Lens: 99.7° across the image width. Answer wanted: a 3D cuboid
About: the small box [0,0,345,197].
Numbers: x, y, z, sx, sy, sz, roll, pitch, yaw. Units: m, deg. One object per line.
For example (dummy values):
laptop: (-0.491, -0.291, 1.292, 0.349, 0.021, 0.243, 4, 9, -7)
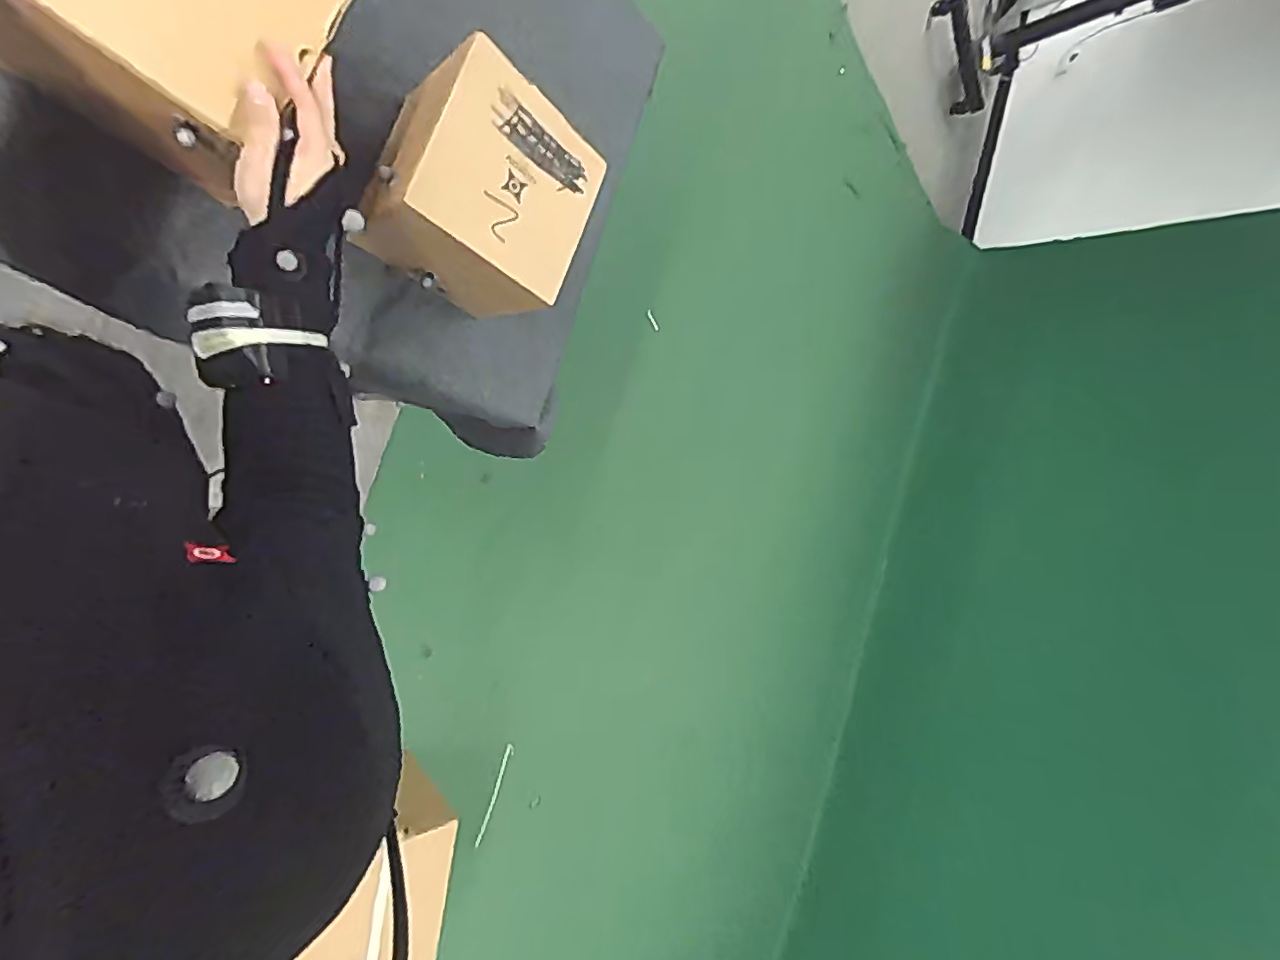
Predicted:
small box: (-0.352, -0.341, 0.389, 0.179, 0.176, 0.168, 29, 78, -44)
